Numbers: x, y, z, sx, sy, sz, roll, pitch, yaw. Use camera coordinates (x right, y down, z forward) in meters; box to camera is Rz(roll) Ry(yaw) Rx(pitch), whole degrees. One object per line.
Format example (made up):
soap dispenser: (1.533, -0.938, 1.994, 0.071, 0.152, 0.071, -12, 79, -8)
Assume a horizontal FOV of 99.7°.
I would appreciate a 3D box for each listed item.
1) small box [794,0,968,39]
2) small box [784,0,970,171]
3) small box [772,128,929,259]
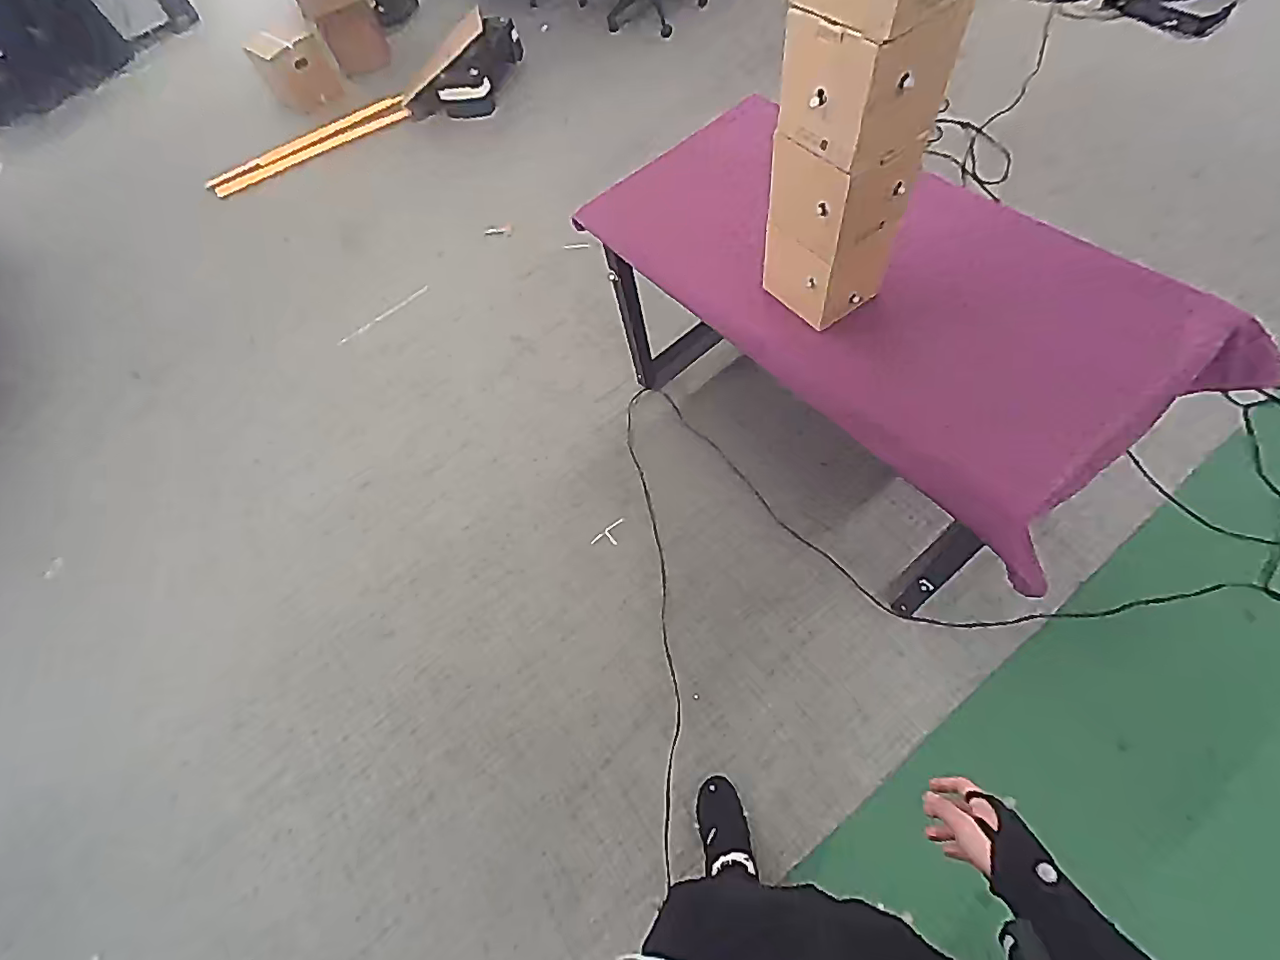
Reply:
small box: (0.305, -0.671, 0.644, 0.168, 0.176, 0.179, -35, 63, -10)
small box: (0.327, -0.592, 0.787, 0.179, 0.176, 0.168, -34, 62, -9)
small box: (0.346, -0.512, 0.928, 0.168, 0.176, 0.179, -34, 62, -9)
